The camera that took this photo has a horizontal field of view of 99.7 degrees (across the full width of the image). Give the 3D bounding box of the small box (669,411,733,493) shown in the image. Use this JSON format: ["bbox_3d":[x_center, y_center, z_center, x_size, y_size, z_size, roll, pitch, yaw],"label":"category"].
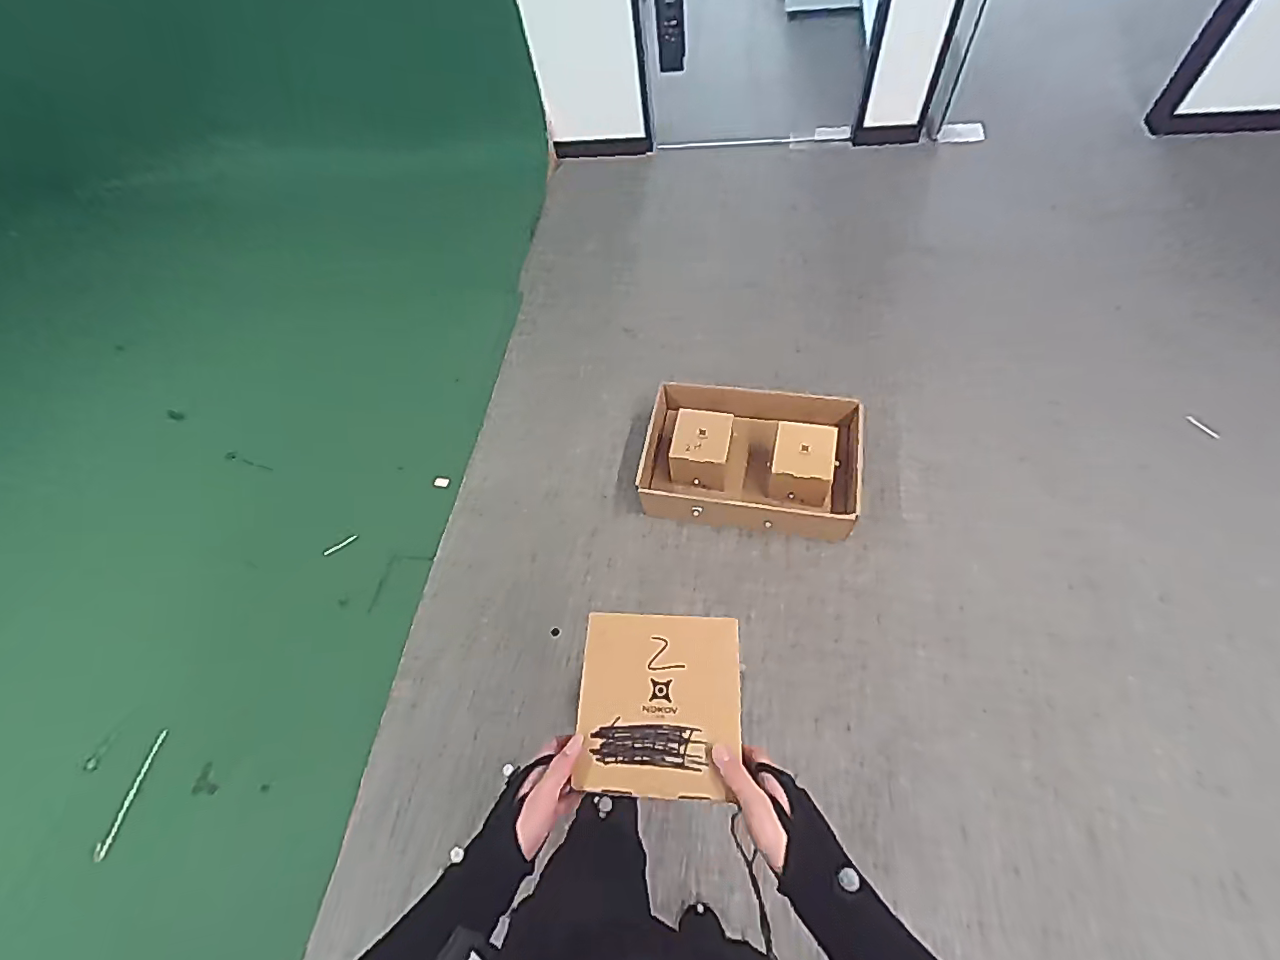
[{"bbox_3d":[0.186,-0.083,1.636,0.168,0.176,0.179,8,62,12],"label":"small box"}]

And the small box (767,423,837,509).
[{"bbox_3d":[0.468,-0.040,1.573,0.168,0.176,0.179,9,63,13],"label":"small box"}]
